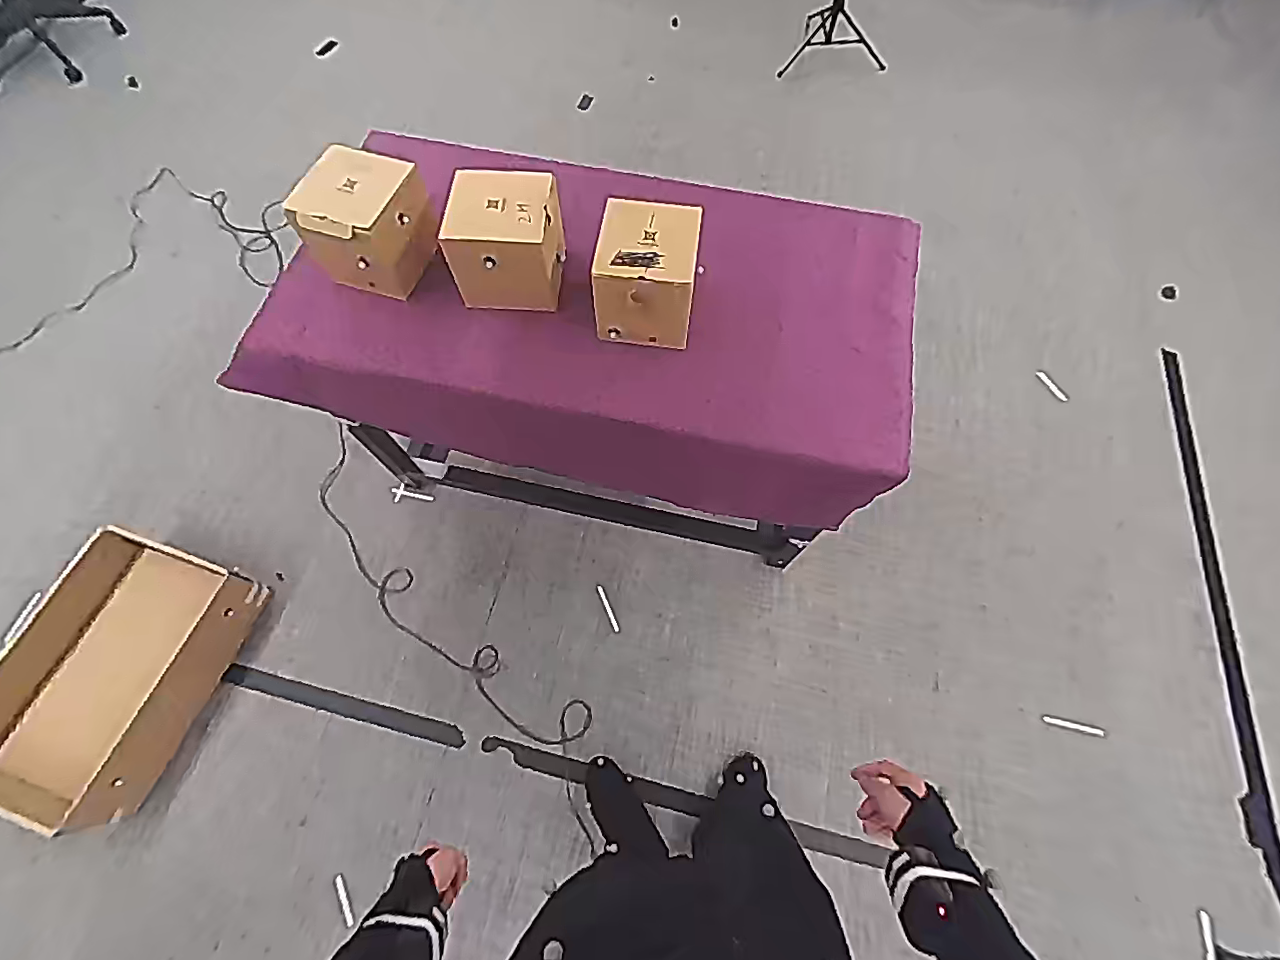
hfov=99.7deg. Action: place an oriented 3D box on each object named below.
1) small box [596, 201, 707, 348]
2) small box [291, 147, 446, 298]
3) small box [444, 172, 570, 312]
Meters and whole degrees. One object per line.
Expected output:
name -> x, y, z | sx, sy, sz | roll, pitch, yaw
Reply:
small box -> 0.022, -0.358, 0.963 | 0.168, 0.176, 0.179 | 8, 66, 3
small box -> -0.489, -0.472, 1.009 | 0.168, 0.176, 0.179 | 17, 67, 6
small box -> -0.232, -0.430, 0.992 | 0.179, 0.176, 0.168 | 4, 67, 1
